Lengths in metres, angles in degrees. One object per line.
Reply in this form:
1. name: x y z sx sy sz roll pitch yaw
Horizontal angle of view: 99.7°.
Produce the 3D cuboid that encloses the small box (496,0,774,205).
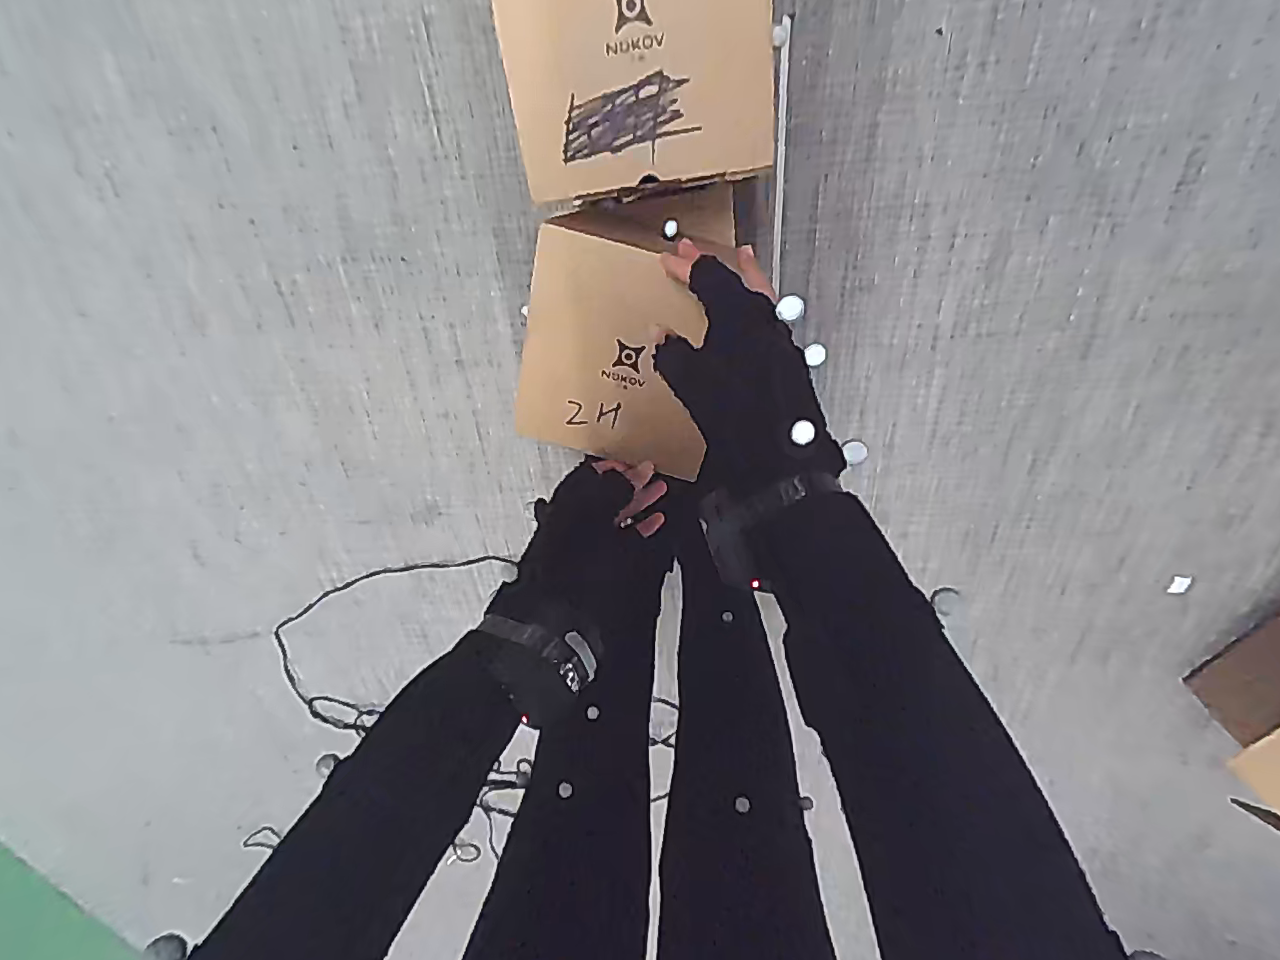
1. small box: 0.006 -0.310 0.390 0.168 0.176 0.179 -4 118 9
